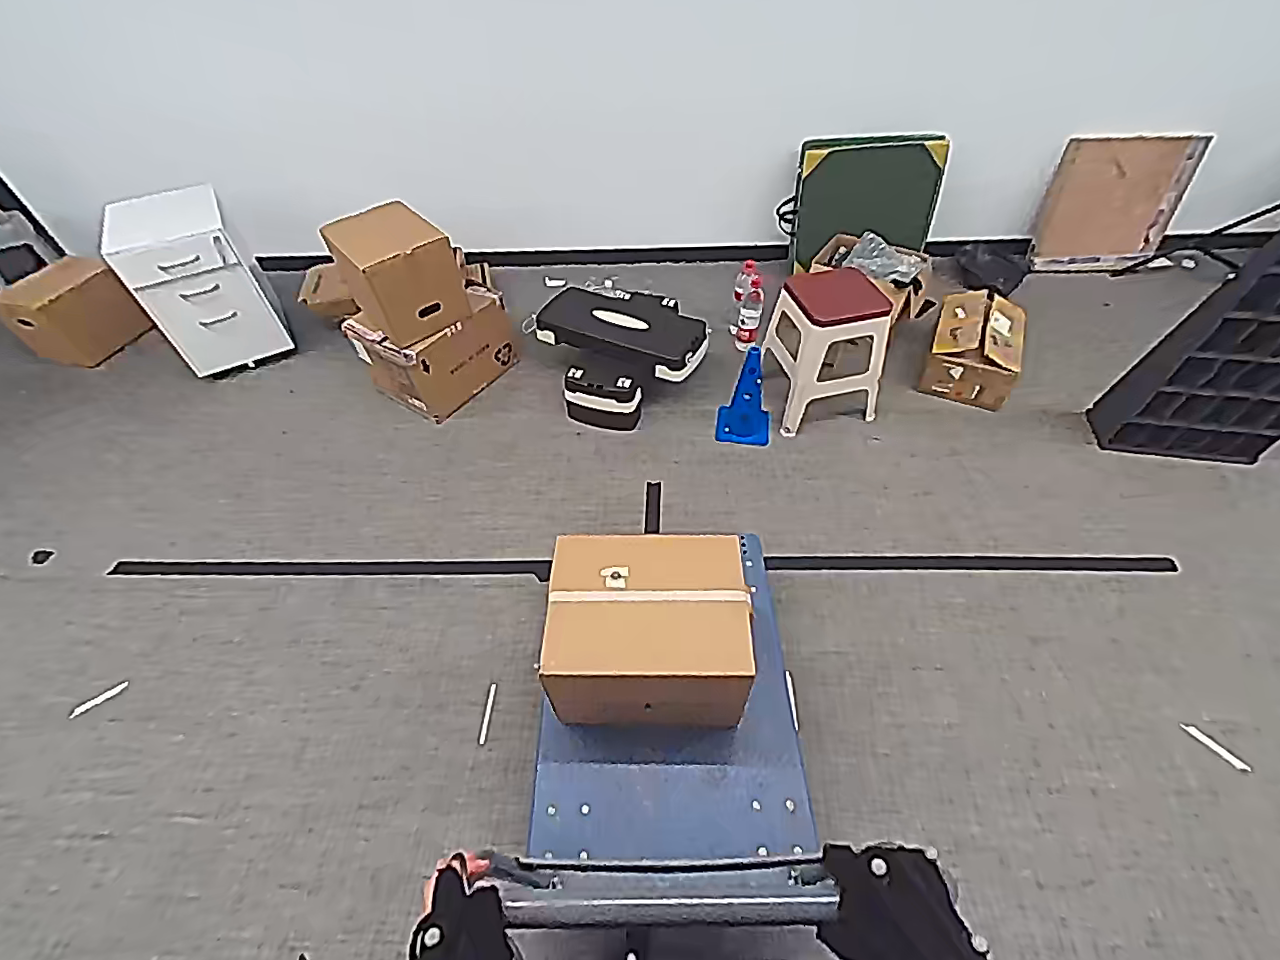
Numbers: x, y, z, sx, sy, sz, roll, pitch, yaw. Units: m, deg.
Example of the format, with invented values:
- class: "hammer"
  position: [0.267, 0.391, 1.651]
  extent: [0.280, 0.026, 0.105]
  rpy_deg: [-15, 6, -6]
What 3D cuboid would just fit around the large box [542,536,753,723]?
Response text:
- class: "large box"
  position: [0.021, 0.343, 1.216]
  extent: [0.408, 0.320, 0.320]
  rpy_deg: [-1, 49, 2]
